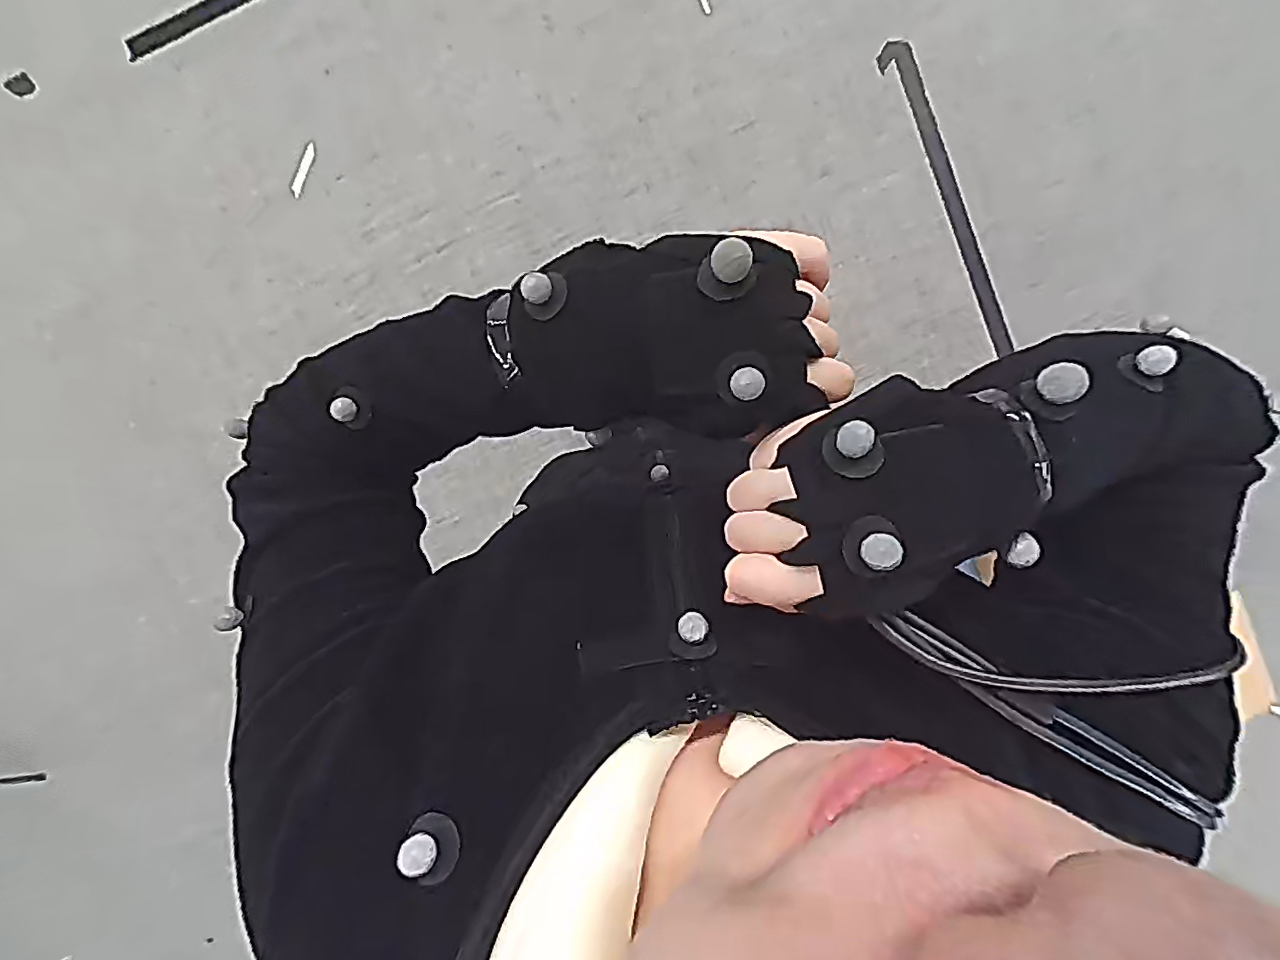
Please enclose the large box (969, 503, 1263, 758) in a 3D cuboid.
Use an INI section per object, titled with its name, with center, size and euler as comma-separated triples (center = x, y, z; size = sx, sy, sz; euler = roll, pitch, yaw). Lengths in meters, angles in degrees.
[large box]
center = 1.040, 0.313, 1.224
size = 0.320, 0.320, 0.408
euler = -25, 97, 2
